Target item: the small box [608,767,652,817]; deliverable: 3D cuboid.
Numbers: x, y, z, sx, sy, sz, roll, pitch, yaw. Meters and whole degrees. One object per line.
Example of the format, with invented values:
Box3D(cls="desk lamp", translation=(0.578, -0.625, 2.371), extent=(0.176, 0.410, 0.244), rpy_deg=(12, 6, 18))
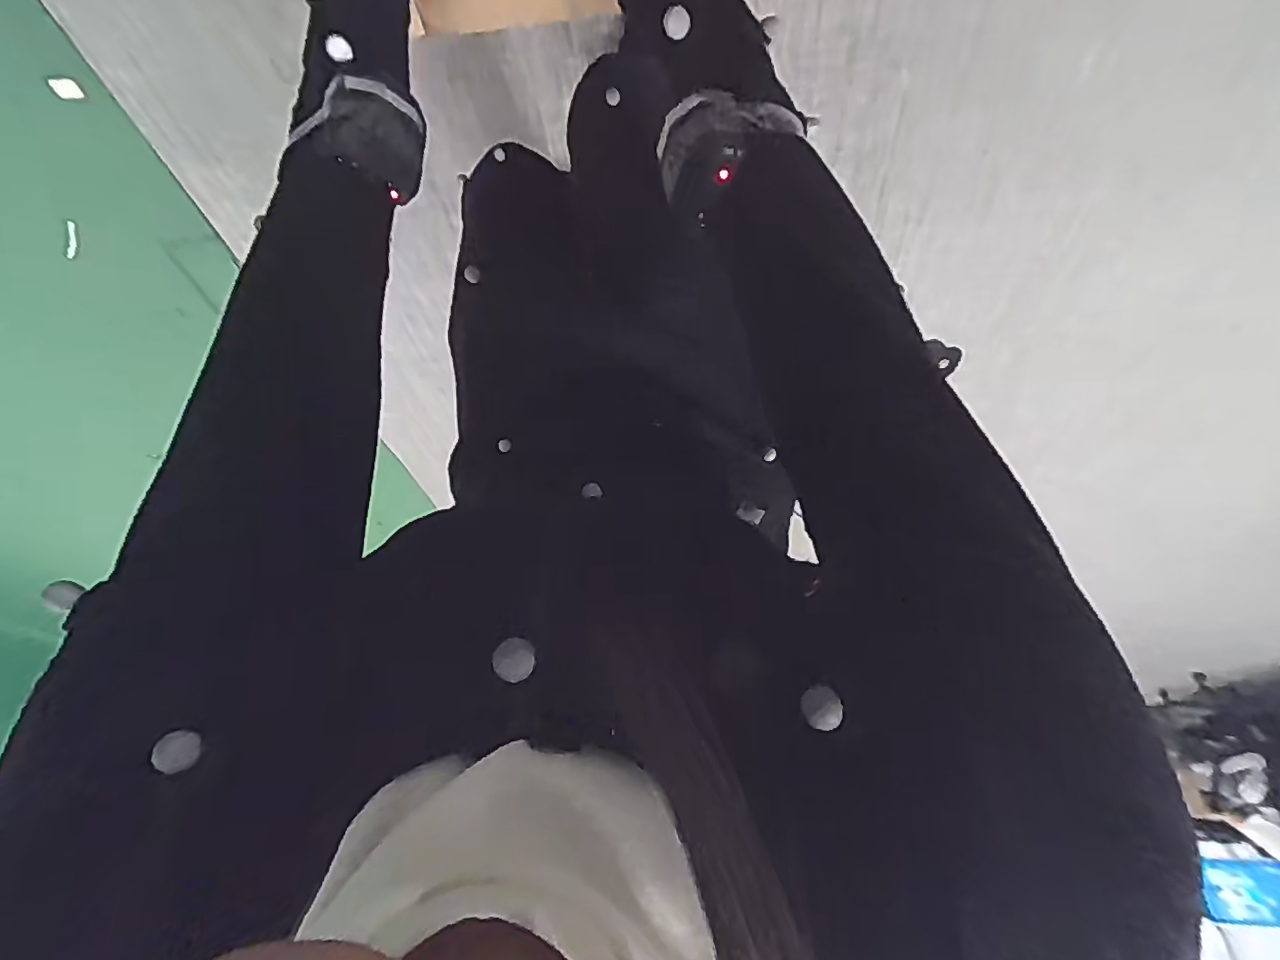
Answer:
Box3D(cls="small box", translation=(-0.040, 1.346, 2.330), extent=(0.168, 0.176, 0.179), rpy_deg=(-1, 145, 8))
